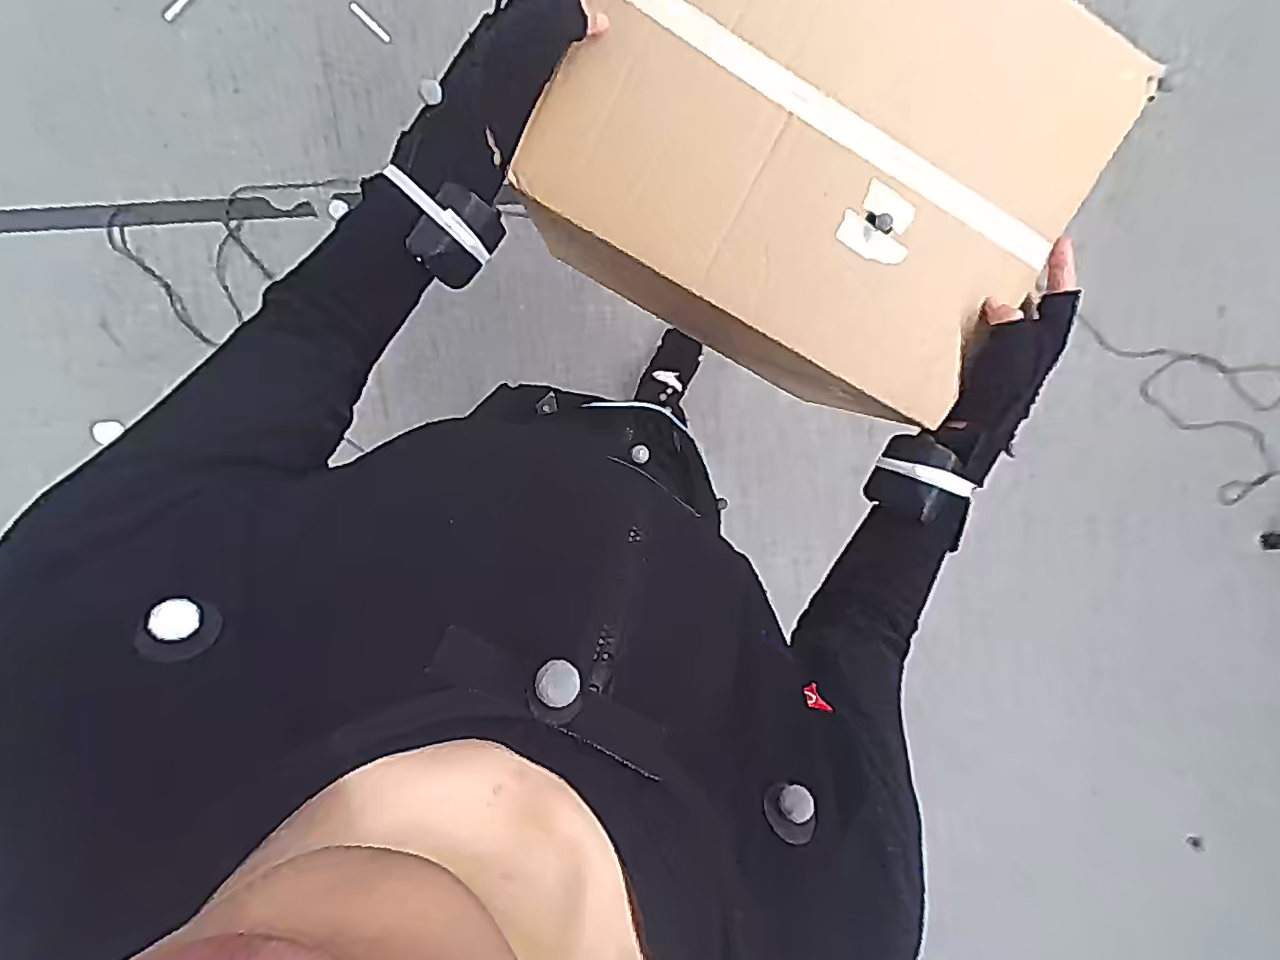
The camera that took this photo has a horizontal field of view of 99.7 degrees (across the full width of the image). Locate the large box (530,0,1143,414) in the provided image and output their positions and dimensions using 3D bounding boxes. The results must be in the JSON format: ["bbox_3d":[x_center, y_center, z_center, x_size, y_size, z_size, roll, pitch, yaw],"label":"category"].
[{"bbox_3d":[0.146,-0.308,0.567,0.408,0.320,0.320,28,101,-9],"label":"large box"}]
